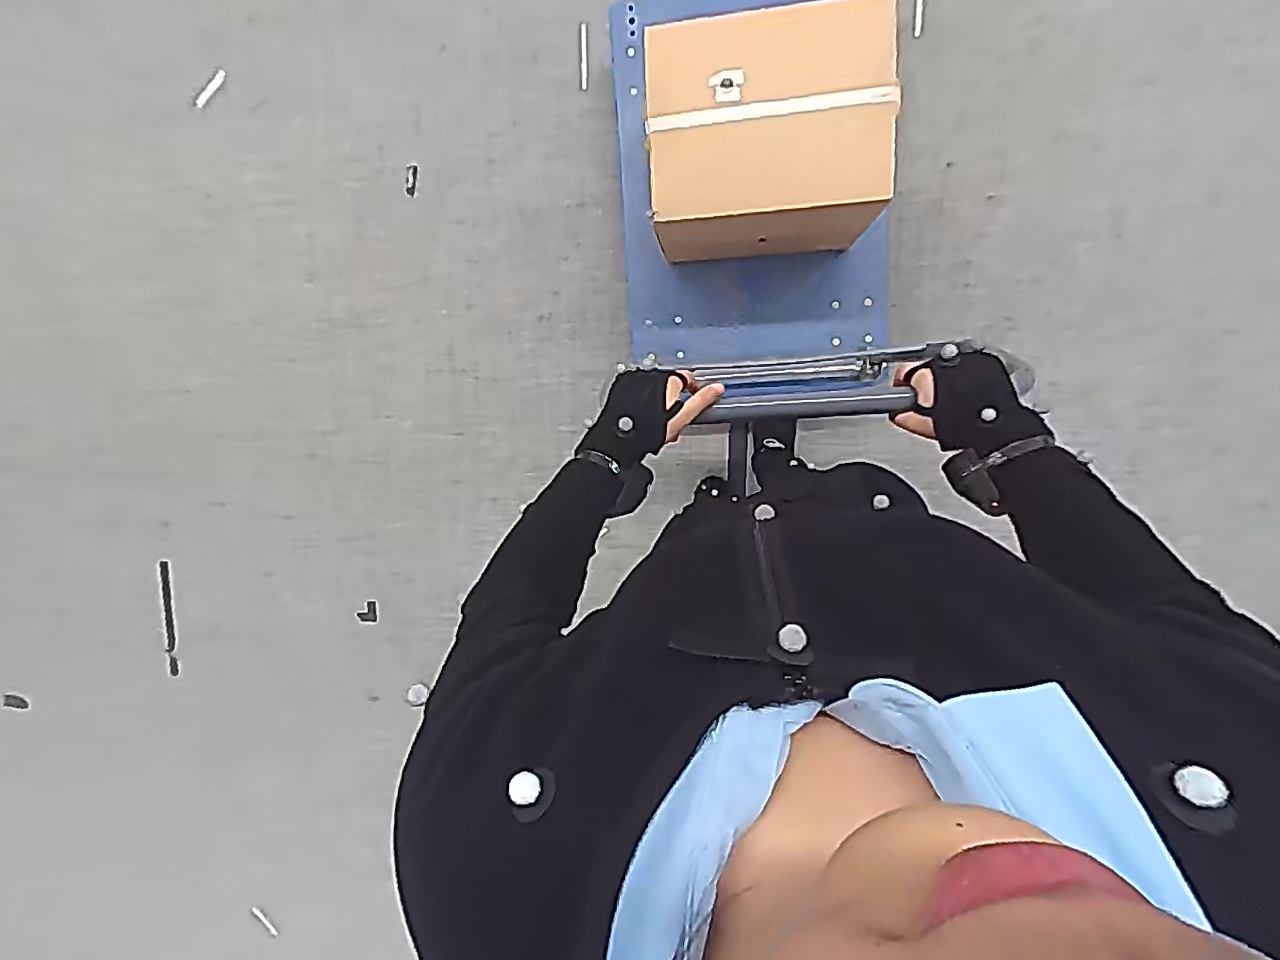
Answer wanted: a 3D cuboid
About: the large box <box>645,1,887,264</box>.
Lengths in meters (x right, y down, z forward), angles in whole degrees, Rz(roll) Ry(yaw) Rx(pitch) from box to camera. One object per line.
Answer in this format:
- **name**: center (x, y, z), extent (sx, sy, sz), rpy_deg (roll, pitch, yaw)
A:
- **large box**: center (0.237, -0.637, 1.070), extent (0.408, 0.320, 0.320), rpy_deg (-2, 97, 9)
